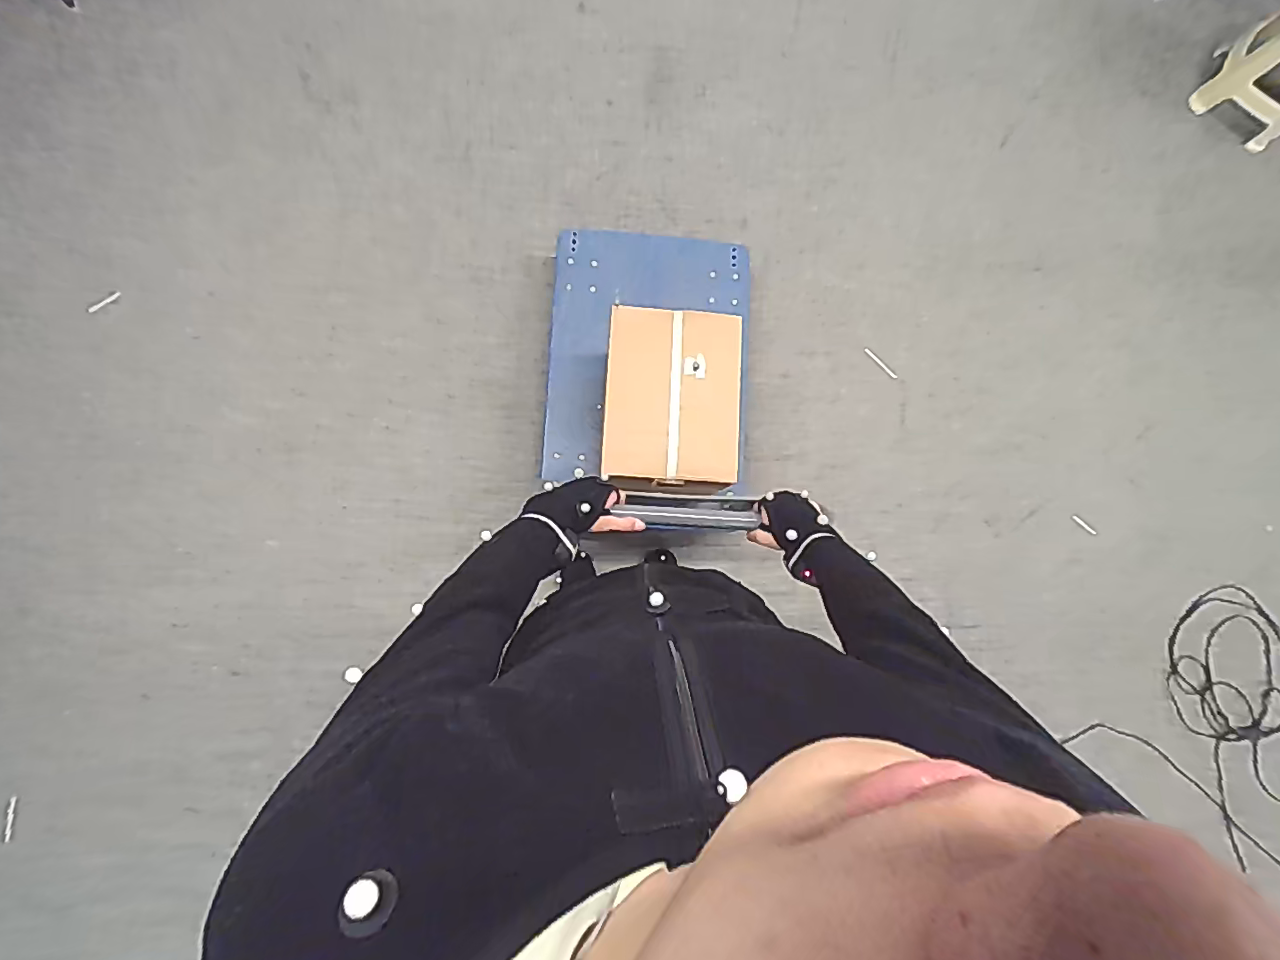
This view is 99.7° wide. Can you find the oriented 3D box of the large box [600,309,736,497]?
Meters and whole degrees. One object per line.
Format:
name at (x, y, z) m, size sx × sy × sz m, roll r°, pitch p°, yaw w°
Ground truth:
large box at (0.056, -0.174, 1.388) m, size 0.320 × 0.320 × 0.408 m, roll 3°, pitch 81°, yaw -6°
